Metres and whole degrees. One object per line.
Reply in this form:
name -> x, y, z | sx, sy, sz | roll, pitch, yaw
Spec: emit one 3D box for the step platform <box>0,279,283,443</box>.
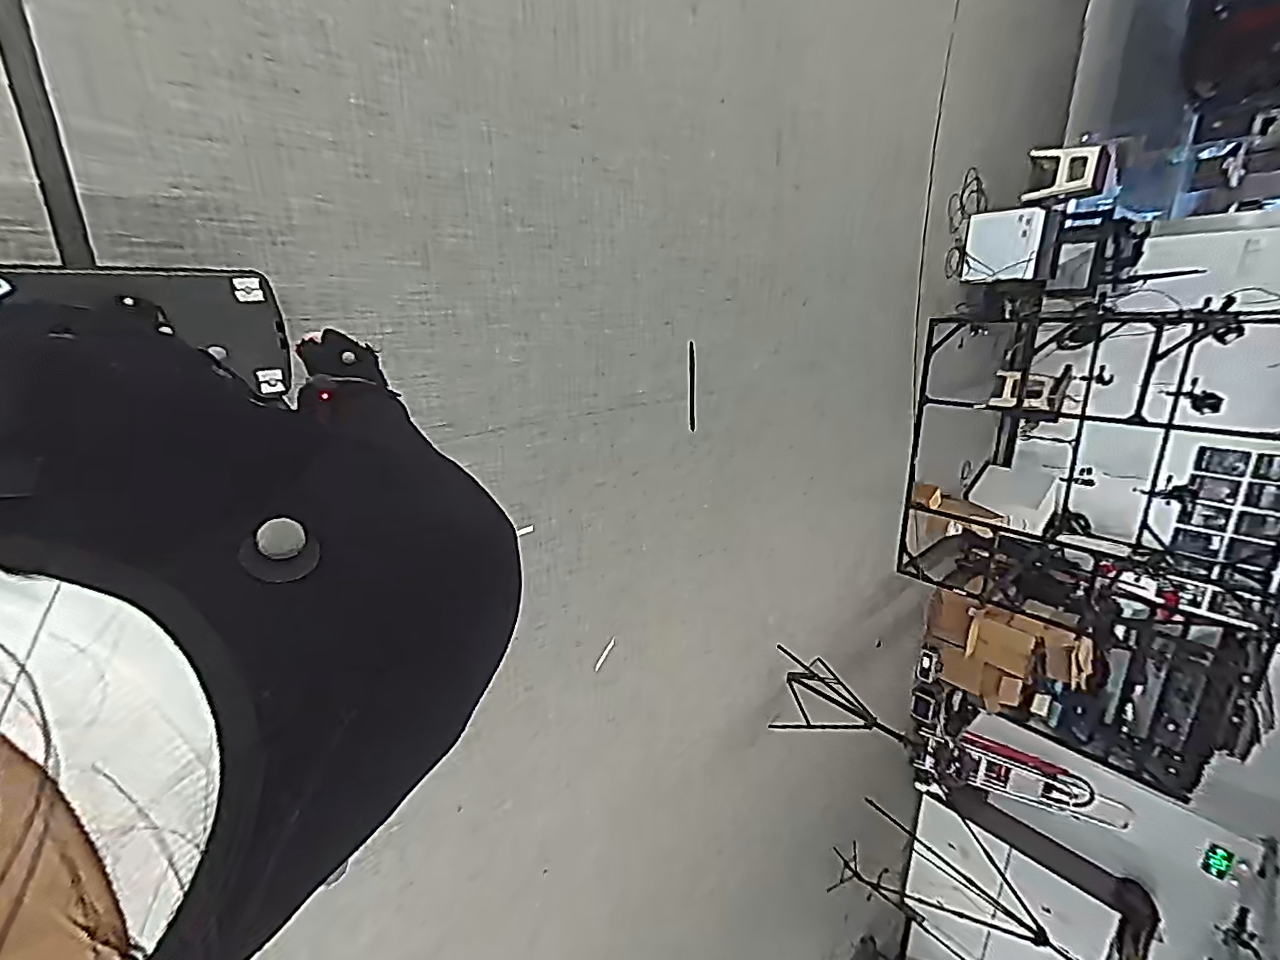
step platform -> -1.121, -0.245, 1.072 | 0.684, 0.204, 0.286 | -18, 115, -39
